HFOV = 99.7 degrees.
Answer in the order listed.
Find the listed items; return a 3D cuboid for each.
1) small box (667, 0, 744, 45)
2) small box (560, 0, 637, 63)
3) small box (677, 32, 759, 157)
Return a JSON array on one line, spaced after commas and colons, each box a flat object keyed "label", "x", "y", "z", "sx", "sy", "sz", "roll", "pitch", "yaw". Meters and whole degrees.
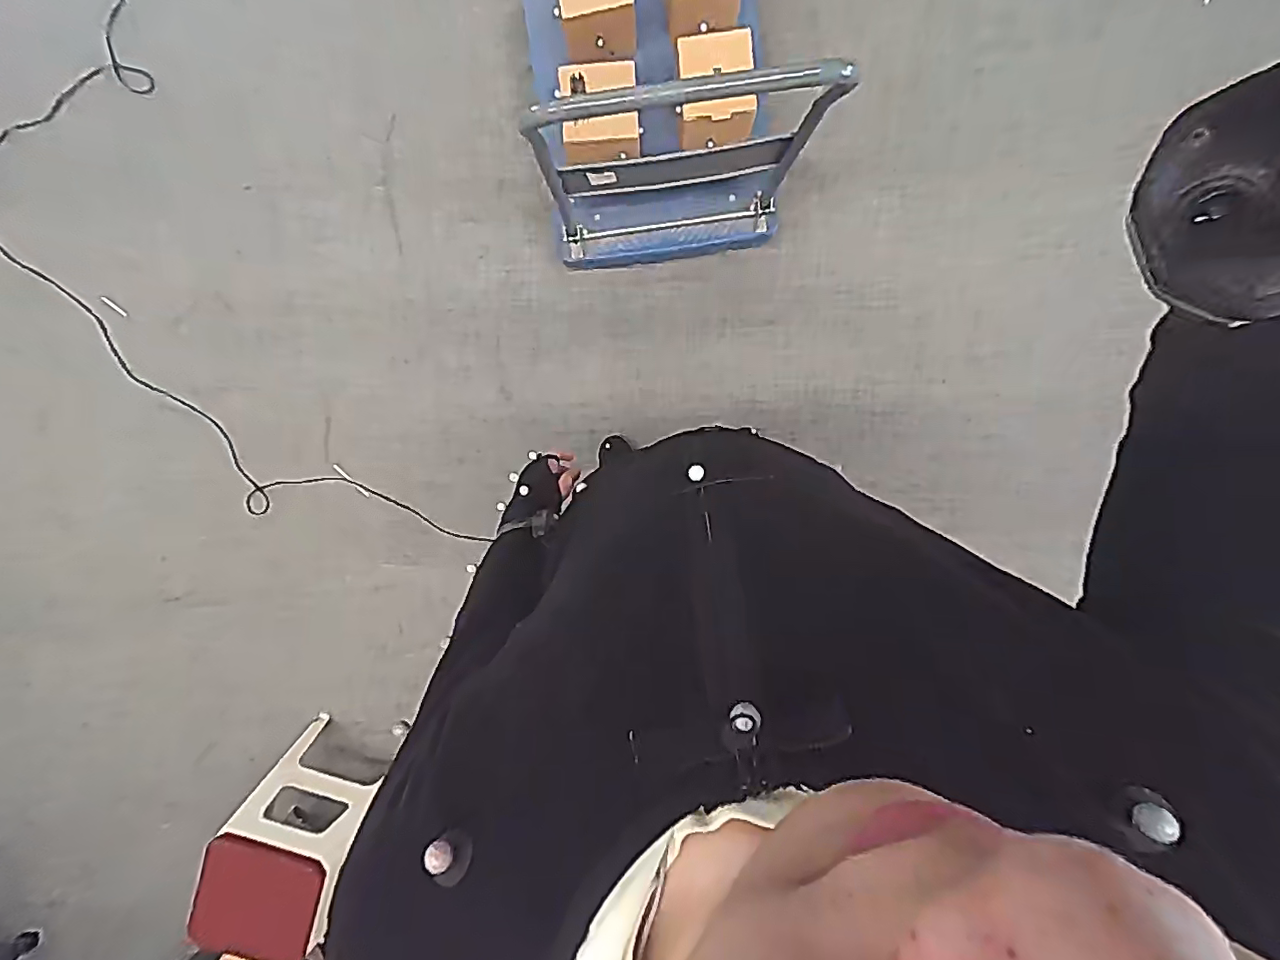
[{"label": "small box", "x": 0.146, "y": -1.174, "z": 1.259, "sx": 0.168, "sy": 0.176, "sz": 0.179, "roll": -10, "pitch": 96, "yaw": 4}, {"label": "small box", "x": -0.101, "y": -1.126, "z": 1.272, "sx": 0.168, "sy": 0.176, "sz": 0.179, "roll": -11, "pitch": 95, "yaw": 2}, {"label": "small box", "x": 0.180, "y": -0.907, "z": 1.286, "sx": 0.168, "sy": 0.176, "sz": 0.179, "roll": -6, "pitch": 96, "yaw": 2}]
